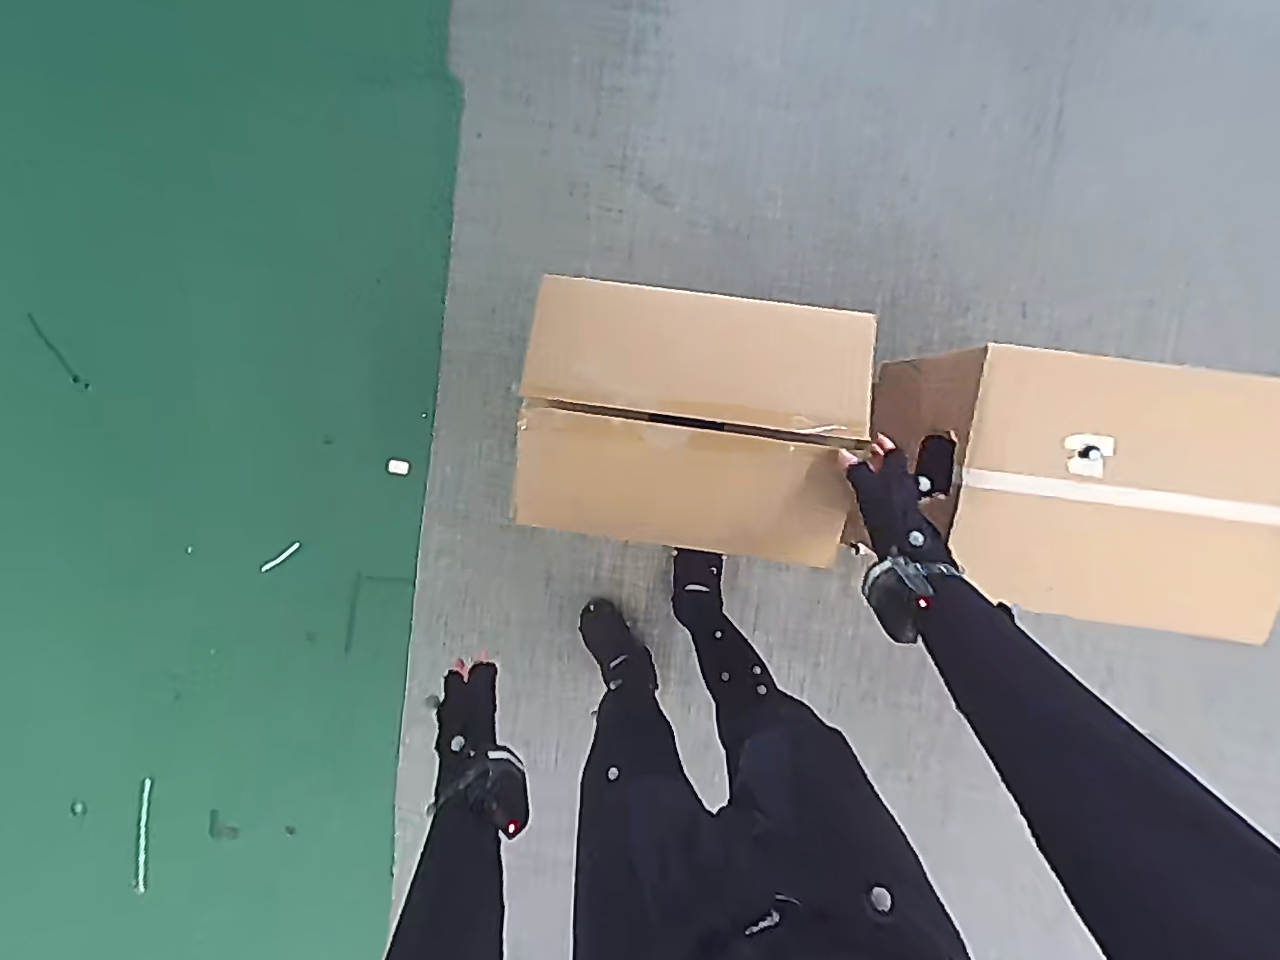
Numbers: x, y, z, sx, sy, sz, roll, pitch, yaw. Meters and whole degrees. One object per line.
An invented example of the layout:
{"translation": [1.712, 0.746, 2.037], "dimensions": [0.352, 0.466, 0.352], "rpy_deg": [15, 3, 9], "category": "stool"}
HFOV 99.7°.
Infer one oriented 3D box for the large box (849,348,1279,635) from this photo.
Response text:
{"translation": [0.576, -0.005, 0.792], "dimensions": [0.408, 0.320, 0.320], "rpy_deg": [8, 98, 3], "category": "large box"}
